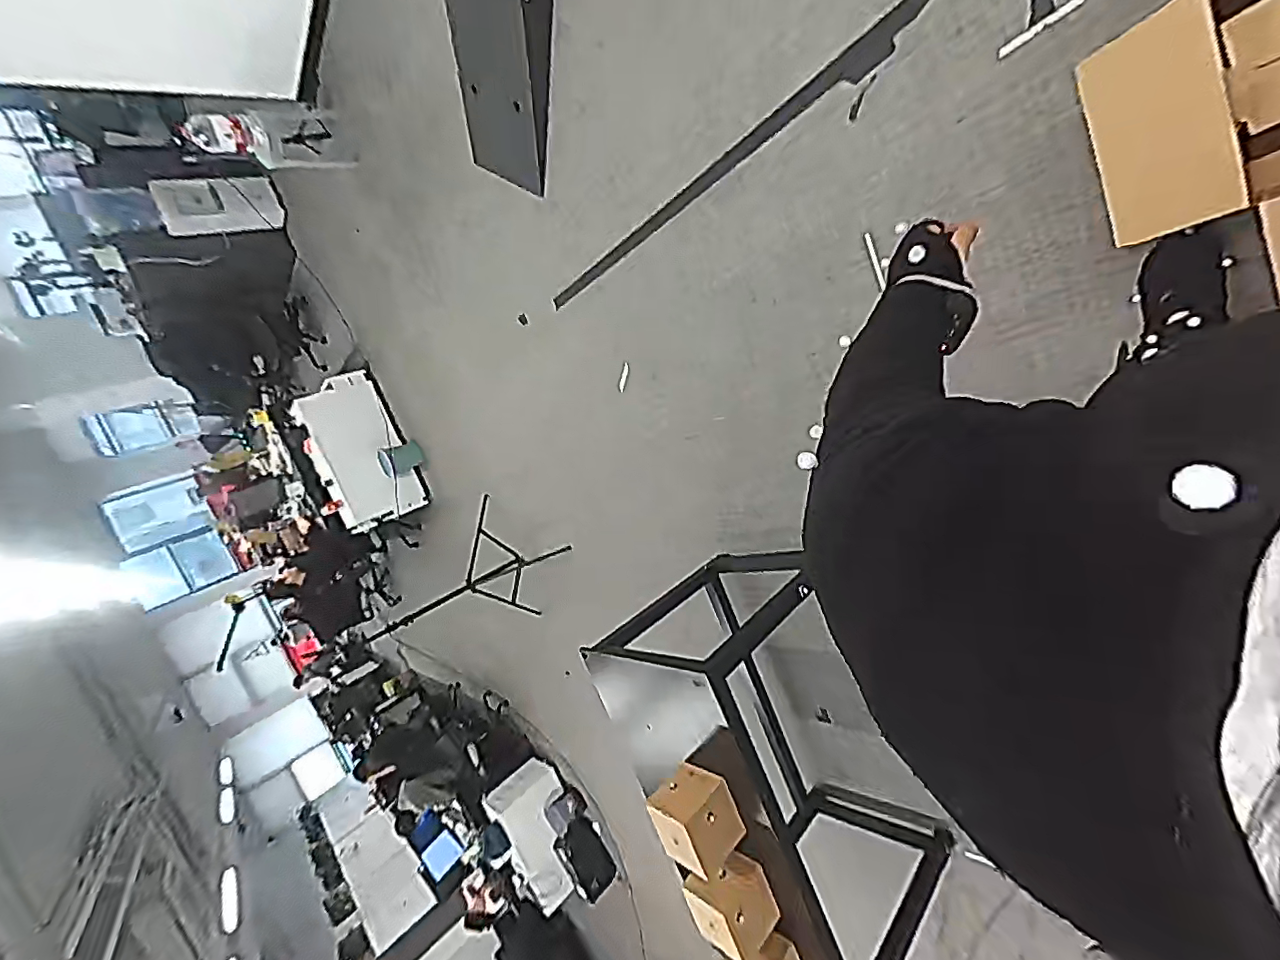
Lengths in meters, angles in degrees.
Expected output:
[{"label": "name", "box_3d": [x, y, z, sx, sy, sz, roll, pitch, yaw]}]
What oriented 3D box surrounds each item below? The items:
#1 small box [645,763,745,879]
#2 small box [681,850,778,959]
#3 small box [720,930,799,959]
[{"label": "small box", "box_3d": [0.151, 0.907, 1.459, 0.168, 0.176, 0.179, -12, 103, 53]}, {"label": "small box", "box_3d": [0.250, 1.160, 1.493, 0.168, 0.176, 0.179, -11, 103, 52]}, {"label": "small box", "box_3d": [0.354, 1.411, 1.526, 0.168, 0.176, 0.179, -17, 99, 52]}]
